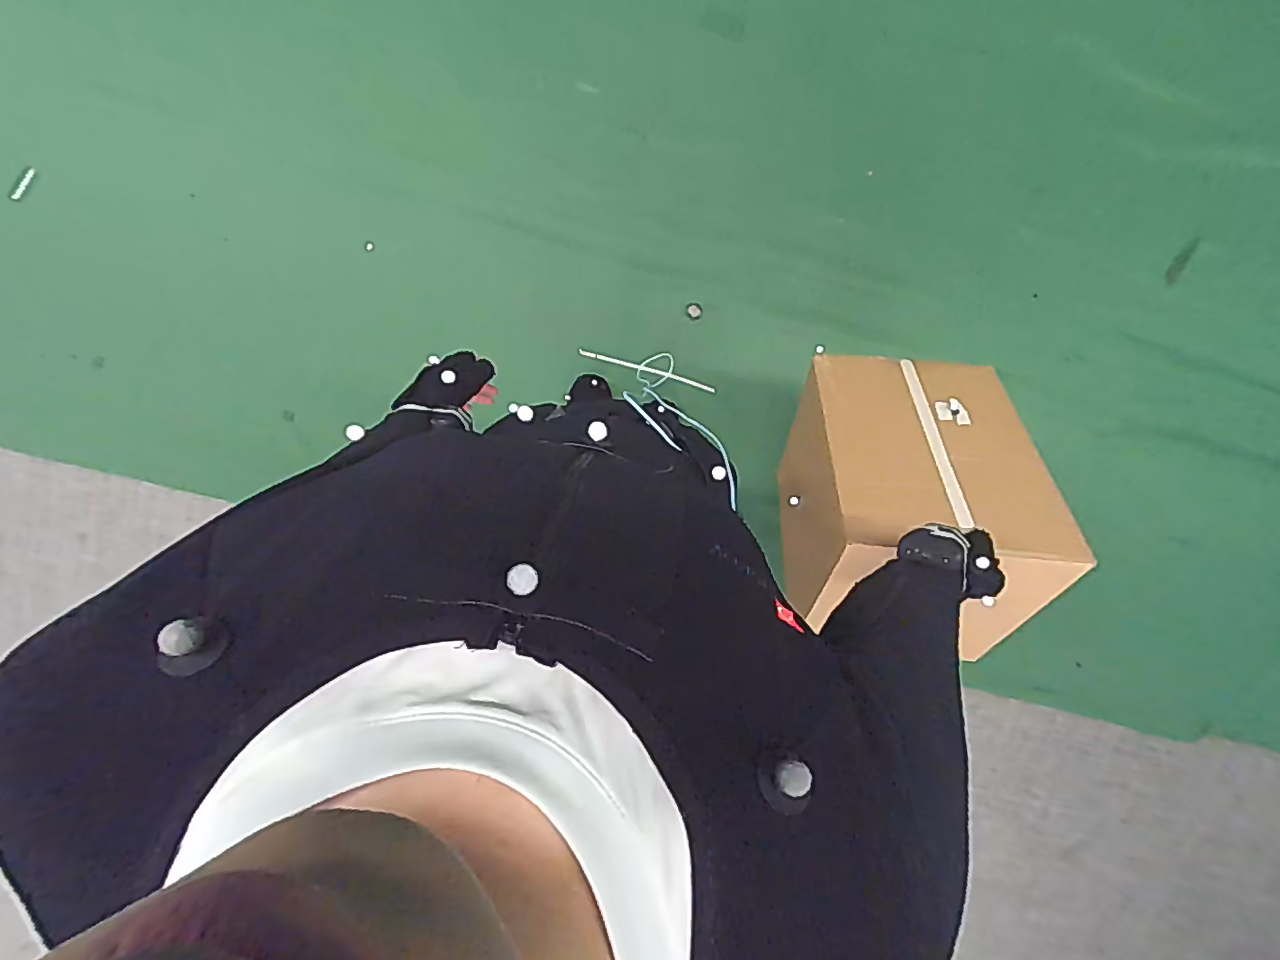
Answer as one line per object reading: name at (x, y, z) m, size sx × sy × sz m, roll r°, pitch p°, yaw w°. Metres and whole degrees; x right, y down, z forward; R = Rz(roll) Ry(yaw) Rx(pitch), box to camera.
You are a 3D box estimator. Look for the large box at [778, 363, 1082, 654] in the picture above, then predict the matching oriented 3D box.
large box at (0.439, 0.047, 0.947) m, size 0.320 × 0.408 × 0.320 m, roll 5°, pitch 139°, yaw 2°
